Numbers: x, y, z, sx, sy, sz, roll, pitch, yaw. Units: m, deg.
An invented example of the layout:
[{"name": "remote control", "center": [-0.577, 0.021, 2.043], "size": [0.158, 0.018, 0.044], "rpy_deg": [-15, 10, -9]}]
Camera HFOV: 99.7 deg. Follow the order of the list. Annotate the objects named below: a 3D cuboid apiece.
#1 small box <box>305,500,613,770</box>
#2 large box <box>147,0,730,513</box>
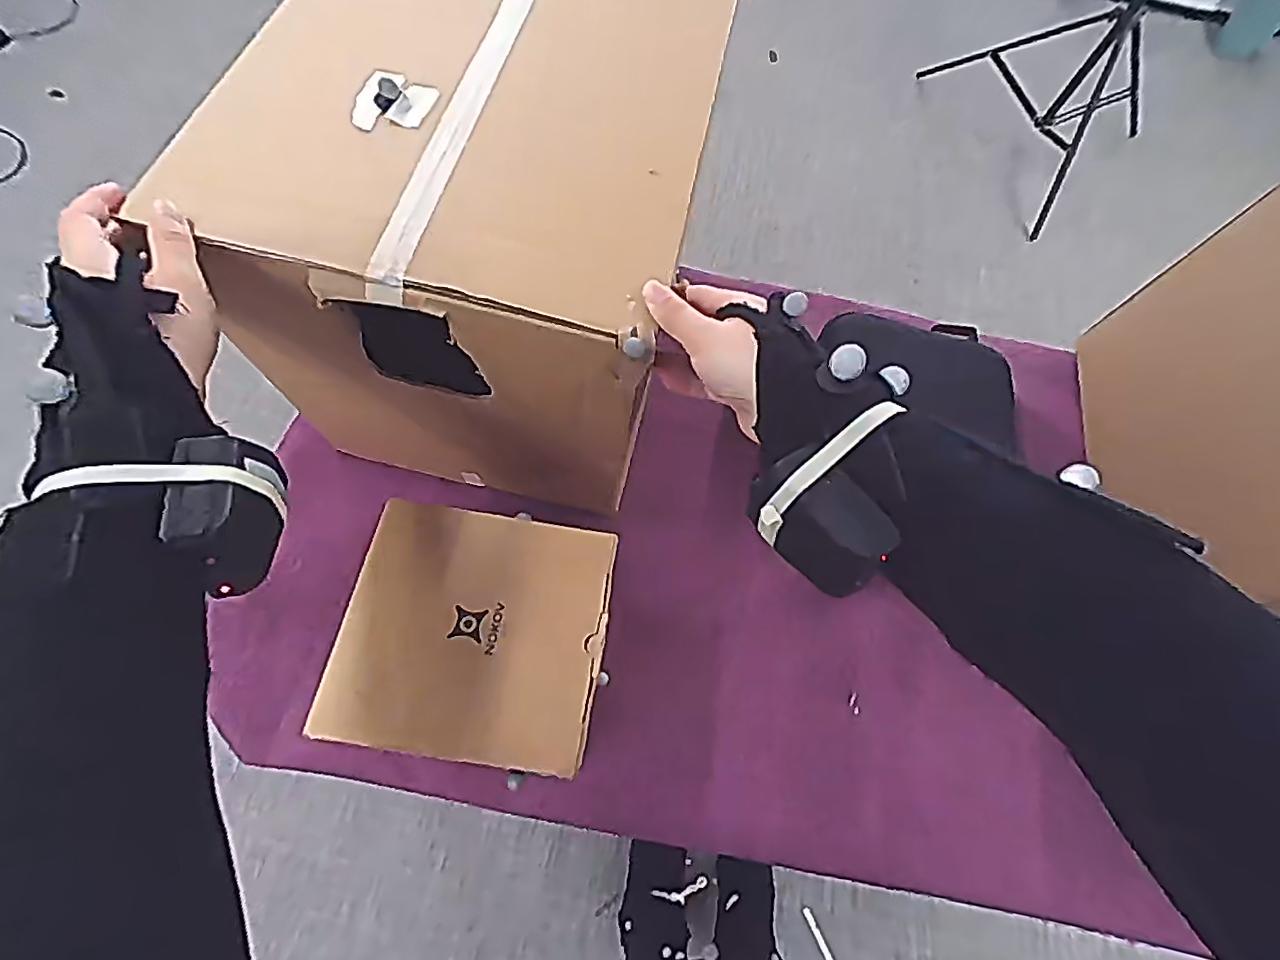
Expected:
[{"name": "small box", "center": [-0.125, 0.134, 0.449], "size": [0.179, 0.176, 0.168], "rpy_deg": [10, 65, -3]}, {"name": "large box", "center": [-0.121, -0.225, 0.528], "size": [0.320, 0.320, 0.408], "rpy_deg": [12, 68, -1]}]
